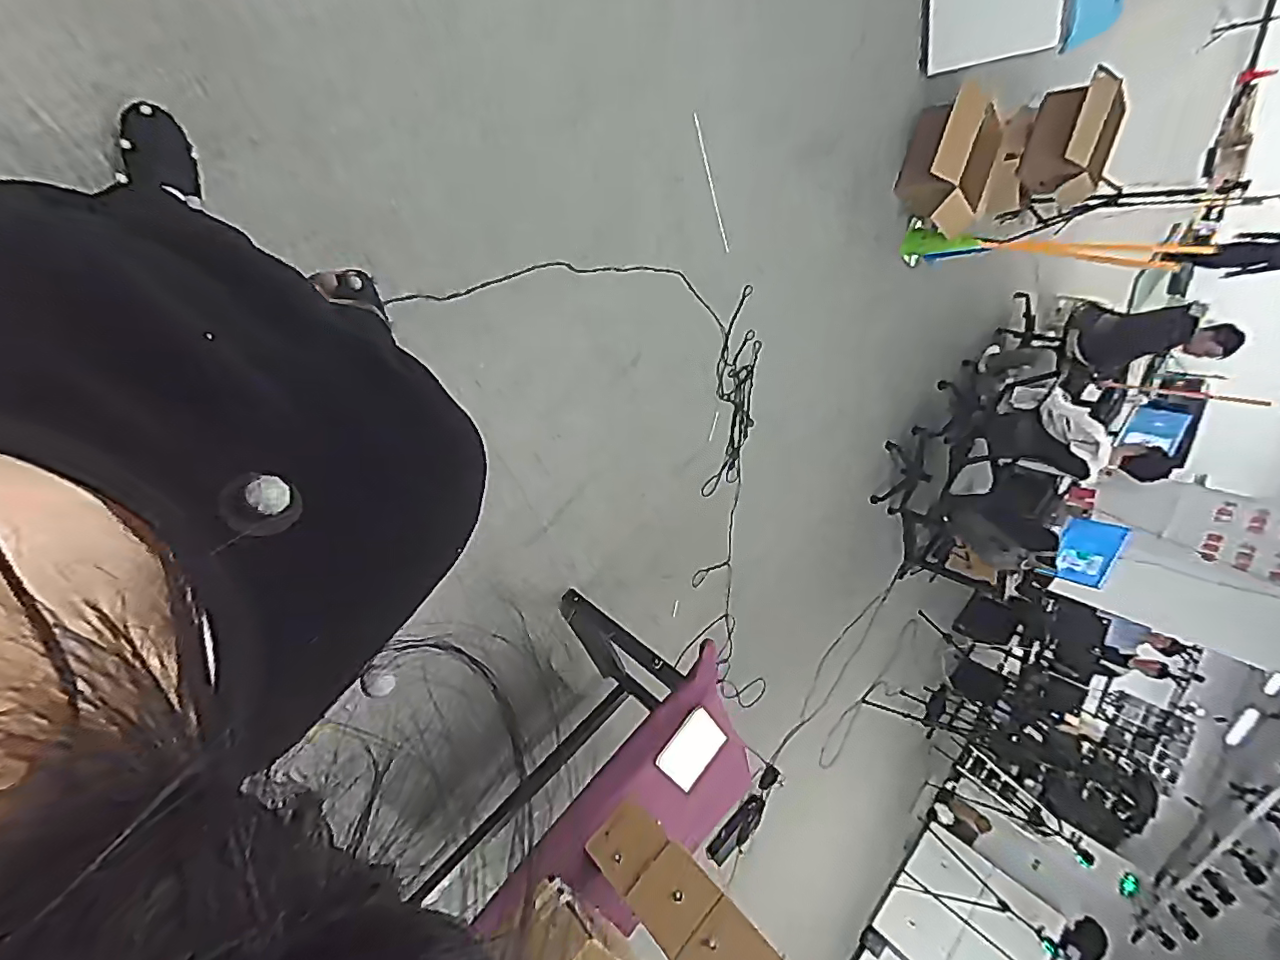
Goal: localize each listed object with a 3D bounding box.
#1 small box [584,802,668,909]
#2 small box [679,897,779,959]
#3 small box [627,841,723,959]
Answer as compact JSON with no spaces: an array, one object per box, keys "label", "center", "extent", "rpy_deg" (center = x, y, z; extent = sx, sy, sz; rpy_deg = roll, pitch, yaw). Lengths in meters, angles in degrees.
[{"label":"small box","center":[-0.019,0.978,1.397],"extent":[0.168,0.176,0.179],"rpy_deg":[-39,131,-24]},{"label":"small box","center":[0.196,1.062,1.164],"extent":[0.179,0.176,0.168],"rpy_deg":[-39,131,-23]},{"label":"small box","center":[0.090,1.014,1.279],"extent":[0.179,0.176,0.168],"rpy_deg":[-39,131,-24]}]
